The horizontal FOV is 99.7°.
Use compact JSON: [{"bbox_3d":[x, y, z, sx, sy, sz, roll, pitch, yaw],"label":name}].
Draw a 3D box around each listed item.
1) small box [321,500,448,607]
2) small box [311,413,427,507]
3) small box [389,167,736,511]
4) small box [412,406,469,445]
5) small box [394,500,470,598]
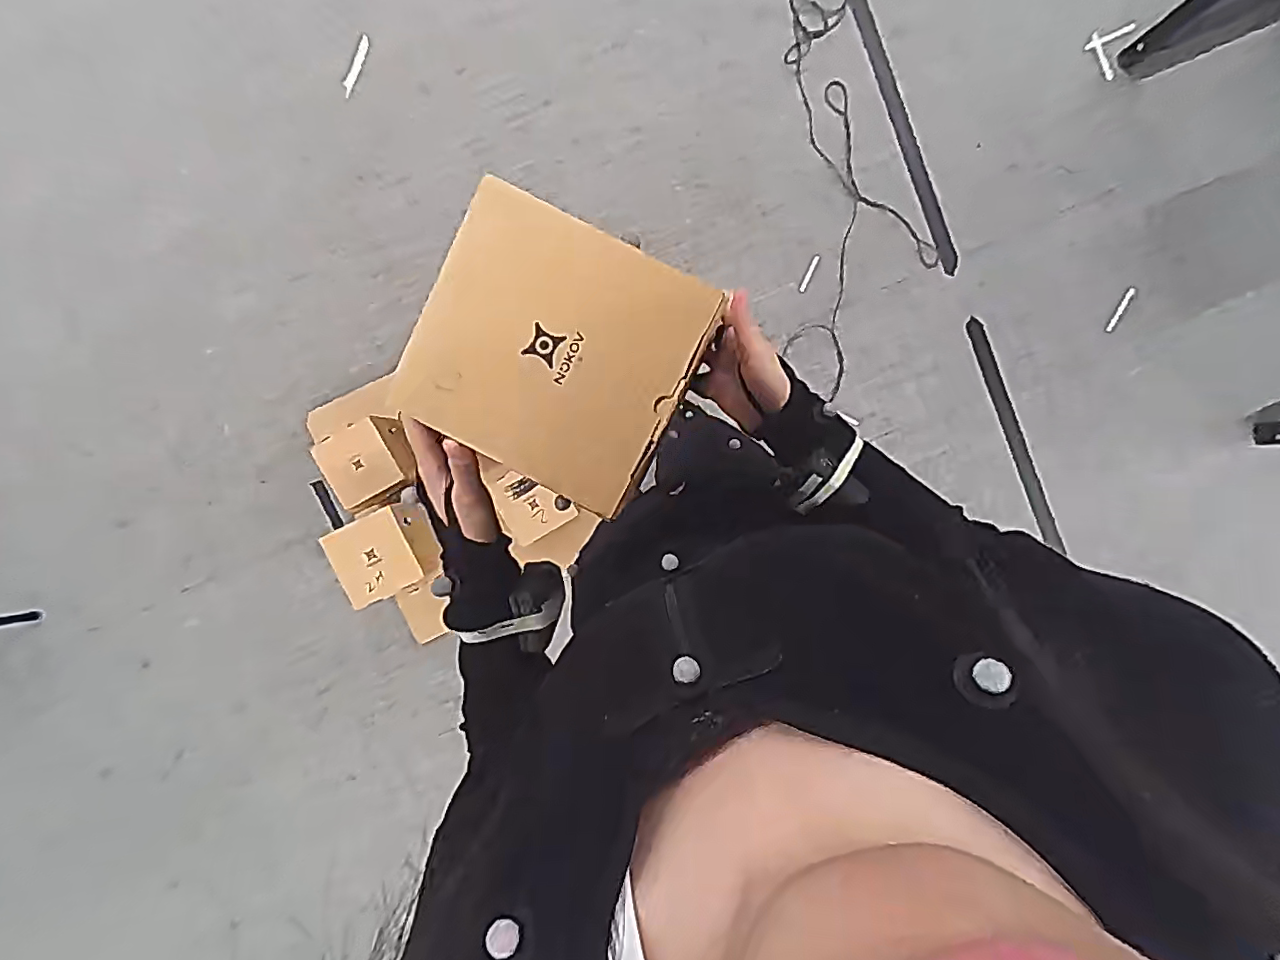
[{"bbox_3d":[-0.561,0.153,1.210,0.168,0.176,0.179,-26,94,0],"label":"small box"},{"bbox_3d":[-0.673,-0.050,1.363,0.168,0.176,0.179,-30,95,0],"label":"small box"},{"bbox_3d":[-0.048,-0.093,0.424,0.179,0.176,0.168,28,96,1],"label":"small box"},{"bbox_3d":[-0.459,-0.200,1.364,0.179,0.176,0.168,-29,94,-1],"label":"small box"},{"bbox_3d":[-0.559,0.166,1.376,0.168,0.176,0.179,-30,95,-2],"label":"small box"}]
